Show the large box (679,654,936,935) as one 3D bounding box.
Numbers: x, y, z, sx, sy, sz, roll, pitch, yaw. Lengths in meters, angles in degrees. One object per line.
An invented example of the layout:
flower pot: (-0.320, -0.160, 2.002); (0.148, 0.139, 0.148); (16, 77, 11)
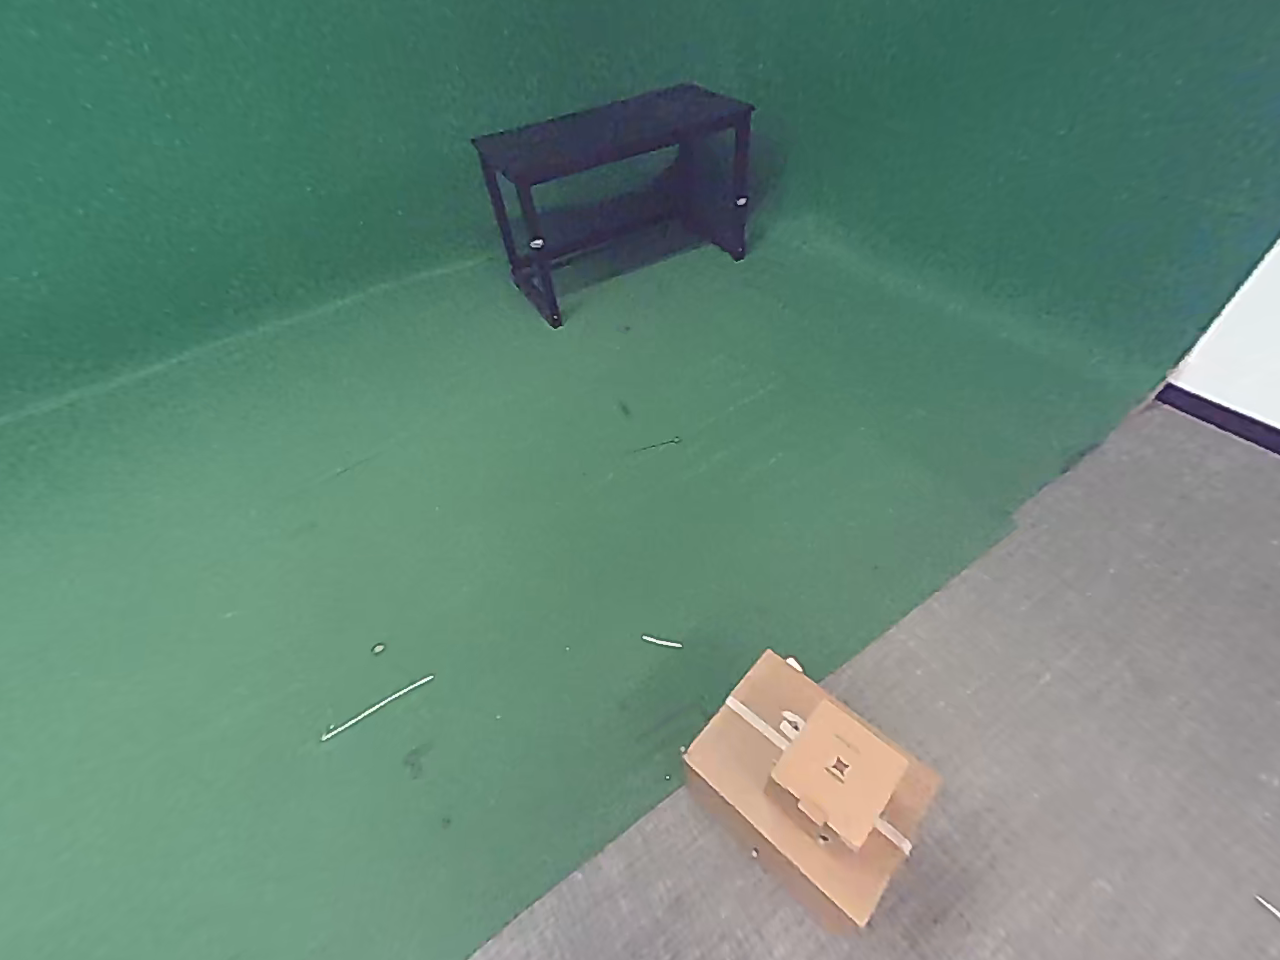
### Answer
large box: (0.340, 0.672, 1.176); (0.408, 0.320, 0.320); (32, 58, 31)

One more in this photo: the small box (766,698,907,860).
small box: (0.340, 0.537, 0.966); (0.168, 0.176, 0.179); (34, 60, 30)
